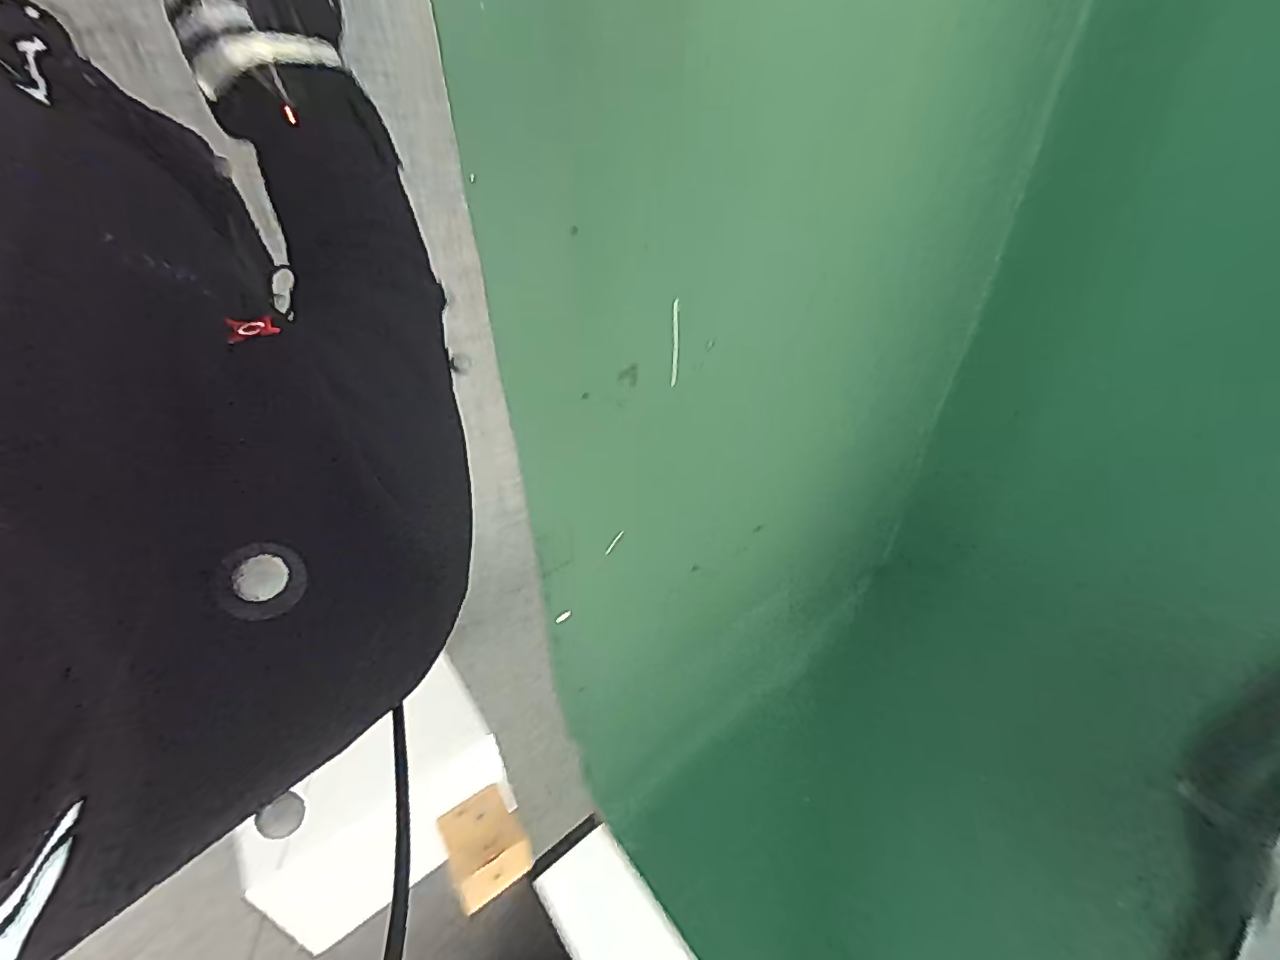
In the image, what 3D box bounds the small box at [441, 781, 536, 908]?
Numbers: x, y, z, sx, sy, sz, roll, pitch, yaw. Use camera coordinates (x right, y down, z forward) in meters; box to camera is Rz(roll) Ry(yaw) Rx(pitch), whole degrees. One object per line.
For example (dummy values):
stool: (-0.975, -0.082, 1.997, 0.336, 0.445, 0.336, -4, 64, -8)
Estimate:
small box: (-0.376, 0.896, 1.343, 0.168, 0.176, 0.179, -23, 130, -31)
